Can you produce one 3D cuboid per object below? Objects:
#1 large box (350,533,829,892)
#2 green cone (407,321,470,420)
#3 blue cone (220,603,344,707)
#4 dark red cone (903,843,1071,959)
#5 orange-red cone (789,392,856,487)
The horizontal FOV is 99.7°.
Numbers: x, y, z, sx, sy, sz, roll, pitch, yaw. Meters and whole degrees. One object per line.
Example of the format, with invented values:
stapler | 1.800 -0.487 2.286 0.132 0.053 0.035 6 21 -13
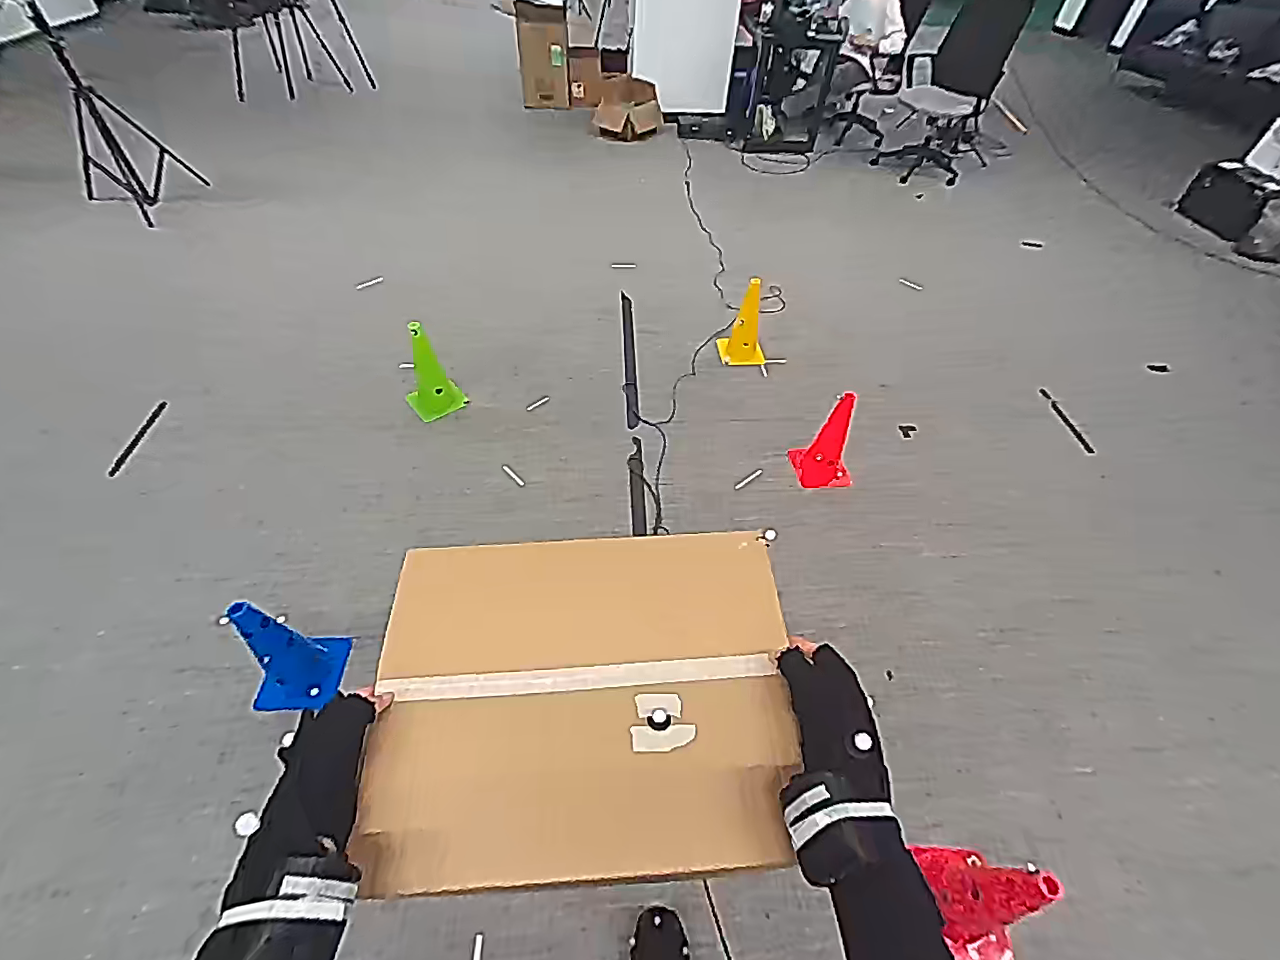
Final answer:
large box | -0.049 0.283 0.649 0.408 0.320 0.320 -2 53 -2
green cone | -0.818 -0.446 2.076 0.202 0.368 0.200 -33 57 -26
blue cone | -0.910 0.409 1.340 0.192 0.380 0.193 1 48 -1
dark red cone | 0.687 0.797 1.039 0.201 0.394 0.202 3 48 1
orange-red cone | 0.685 -0.163 1.916 0.198 0.360 0.199 -2 47 -6
